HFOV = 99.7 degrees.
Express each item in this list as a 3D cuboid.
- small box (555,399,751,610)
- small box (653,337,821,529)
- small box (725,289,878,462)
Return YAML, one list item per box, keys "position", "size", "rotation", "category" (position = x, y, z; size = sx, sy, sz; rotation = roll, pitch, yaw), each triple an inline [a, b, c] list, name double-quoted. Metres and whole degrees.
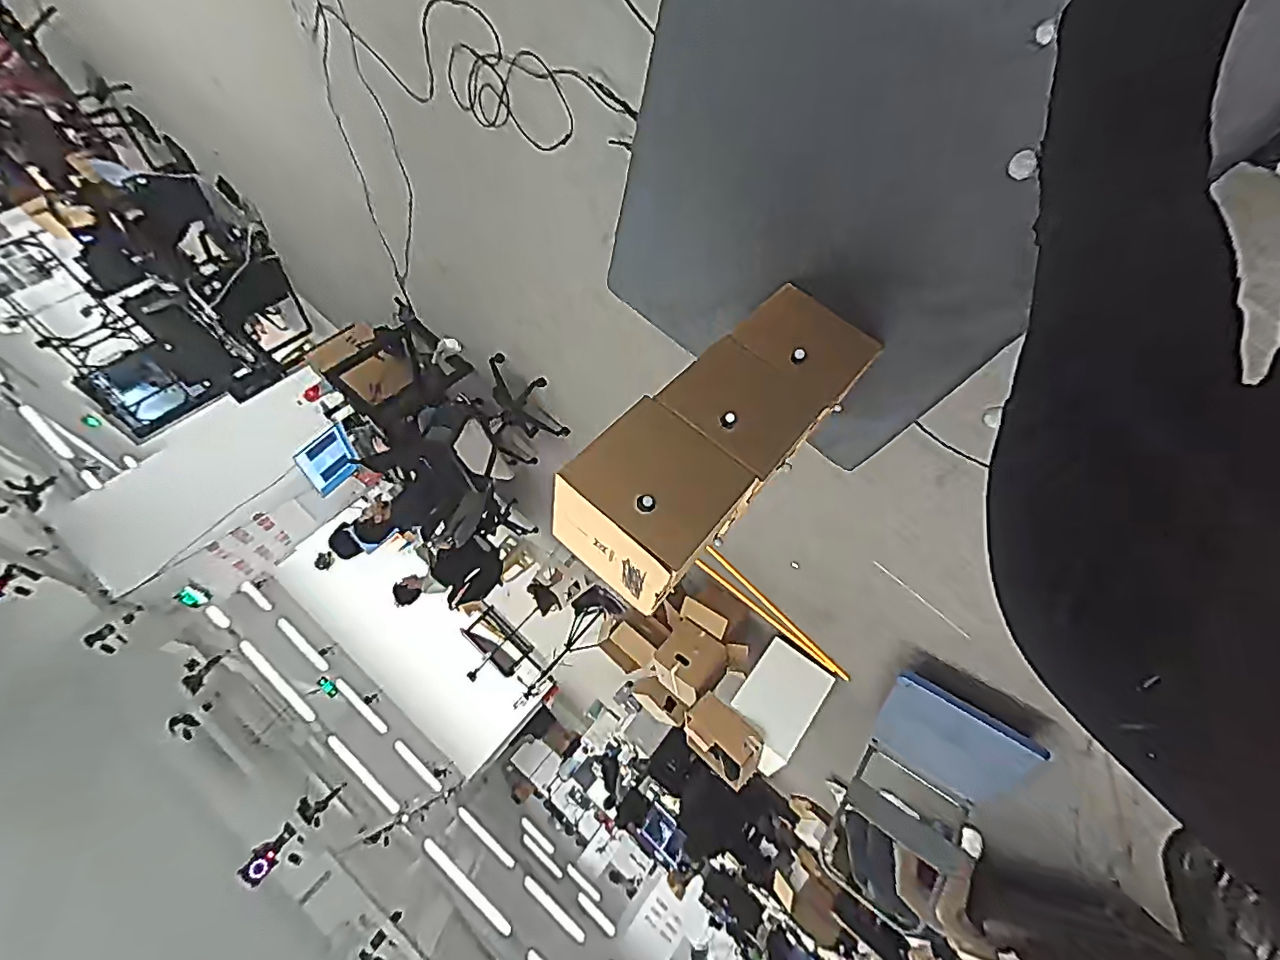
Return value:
- position: [0.012, 0.029, 0.692]
  size: [0.179, 0.176, 0.168]
  rotation: [39, 151, 12]
  category: "small box"
- position: [0.122, -0.068, 0.766]
  size: [0.179, 0.176, 0.168]
  rotation: [40, 151, 11]
  category: "small box"
- position: [0.226, -0.168, 0.841]
  size: [0.179, 0.176, 0.168]
  rotation: [39, 152, 11]
  category: "small box"
